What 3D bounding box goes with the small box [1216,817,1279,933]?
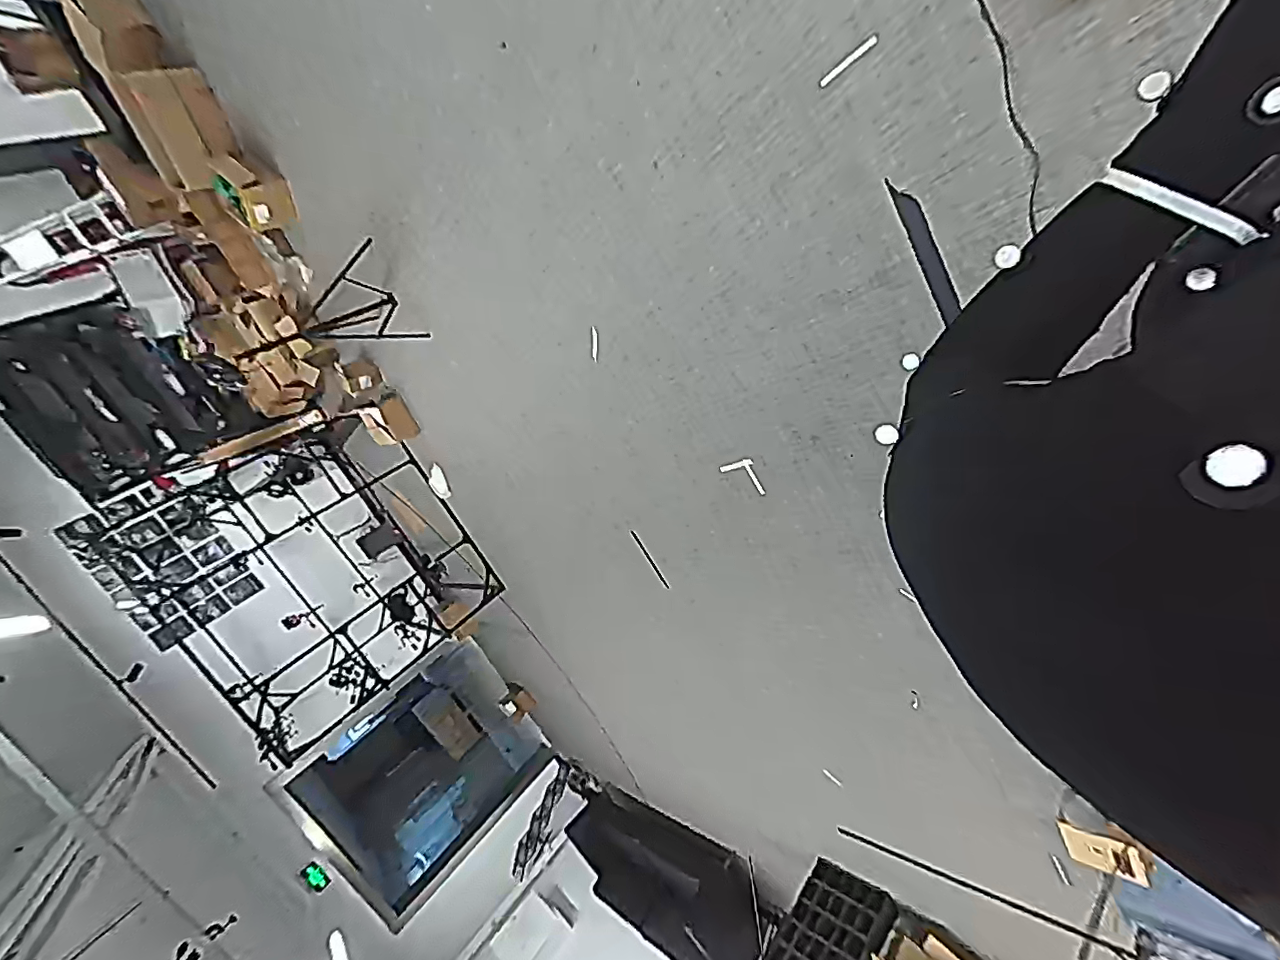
[{"bbox_3d":[1.517,0.950,1.291,0.179,0.176,0.168,-7,117,51],"label":"small box"}]
